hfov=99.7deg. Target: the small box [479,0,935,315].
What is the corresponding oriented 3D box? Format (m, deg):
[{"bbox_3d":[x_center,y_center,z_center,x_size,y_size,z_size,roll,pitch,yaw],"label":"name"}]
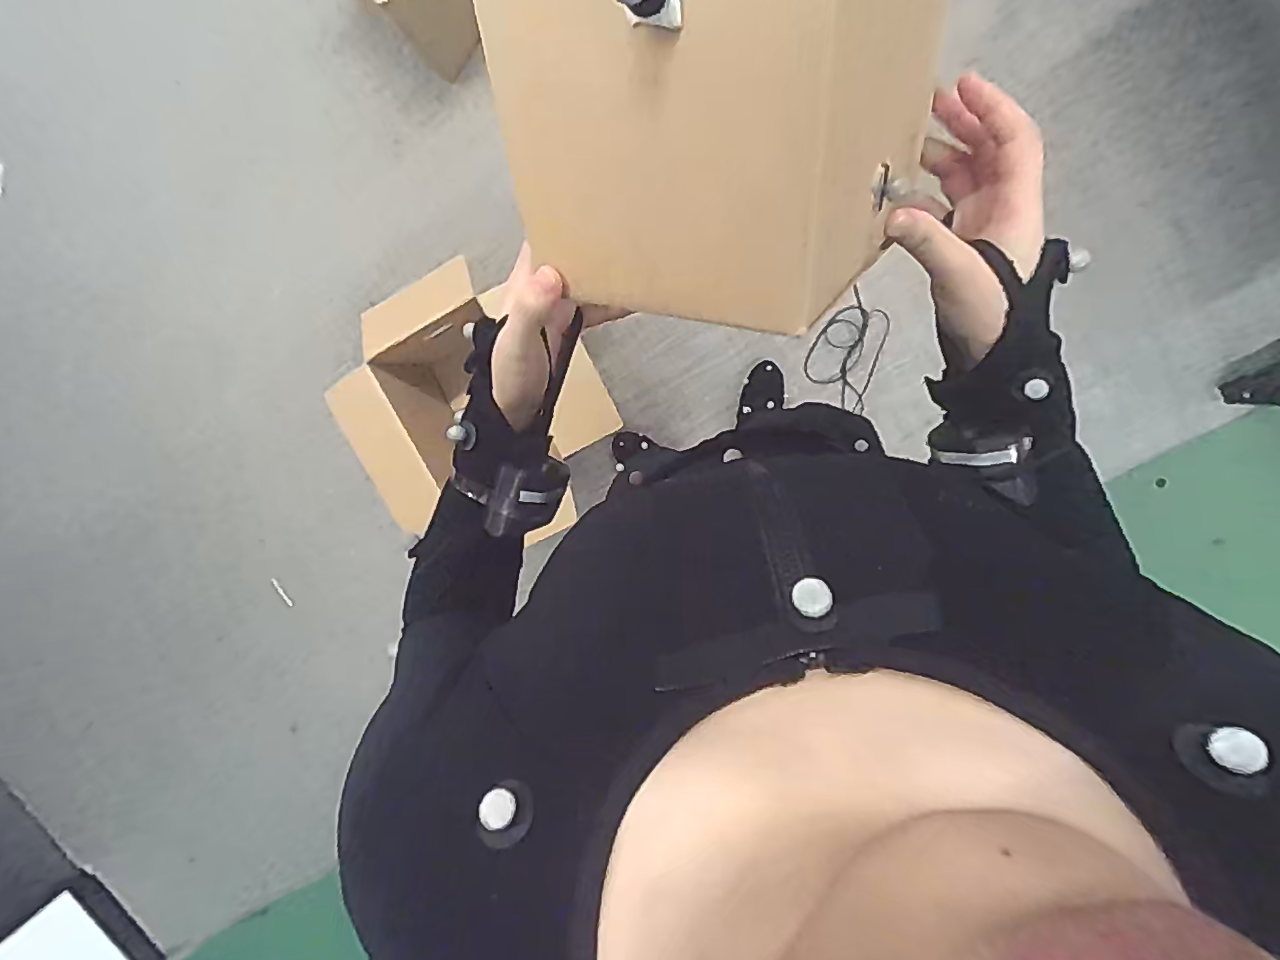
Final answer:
[{"bbox_3d":[0.043,-0.210,0.281,0.168,0.179,0.176,21,136,30],"label":"small box"}]
